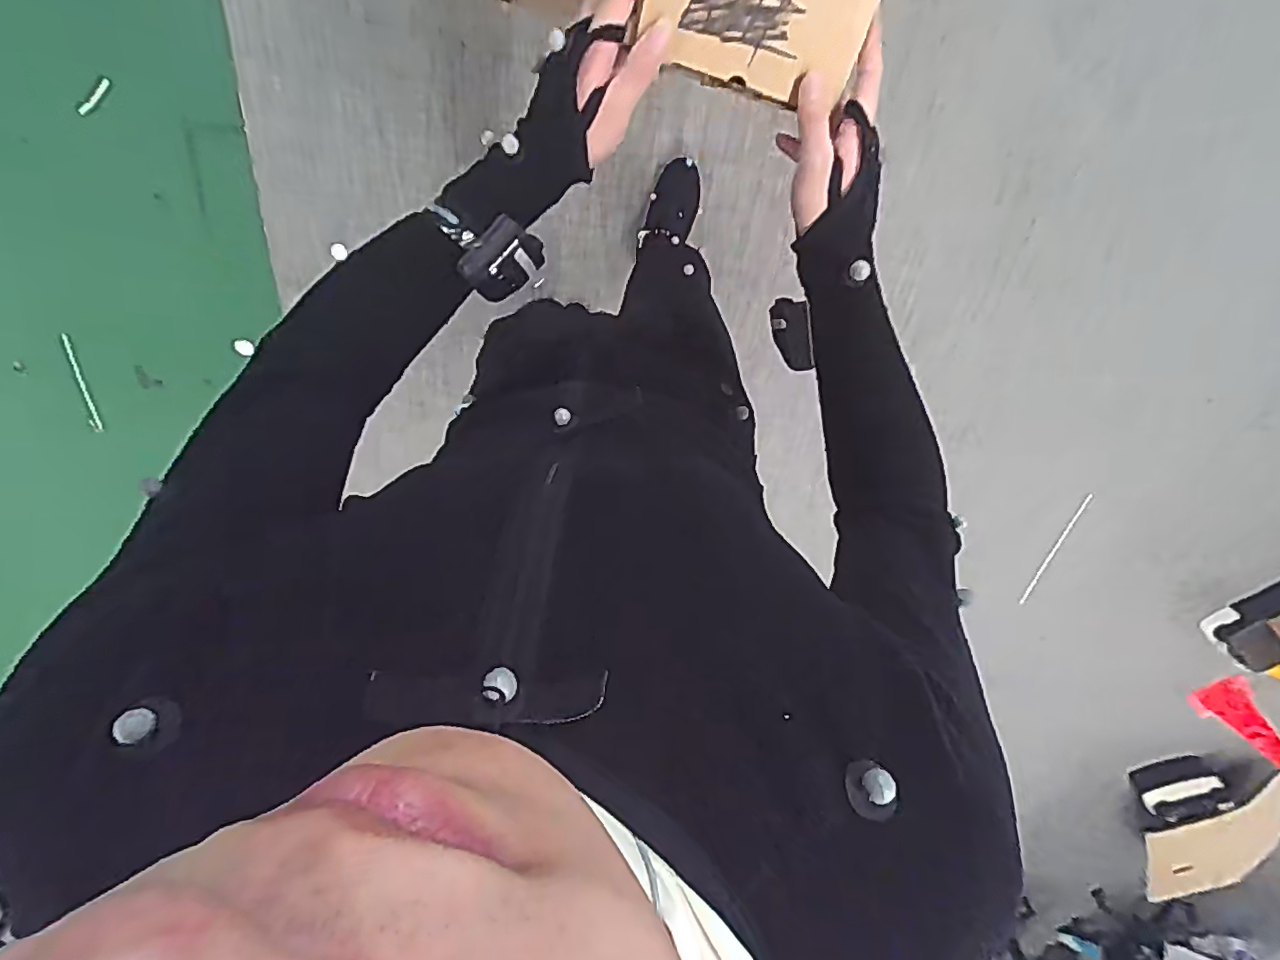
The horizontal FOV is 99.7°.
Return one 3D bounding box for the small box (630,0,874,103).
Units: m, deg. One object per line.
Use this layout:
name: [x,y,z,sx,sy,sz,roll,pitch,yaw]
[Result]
small box: [0.091,-0.423,0.417,0.168,0.176,0.179,10,126,-12]
